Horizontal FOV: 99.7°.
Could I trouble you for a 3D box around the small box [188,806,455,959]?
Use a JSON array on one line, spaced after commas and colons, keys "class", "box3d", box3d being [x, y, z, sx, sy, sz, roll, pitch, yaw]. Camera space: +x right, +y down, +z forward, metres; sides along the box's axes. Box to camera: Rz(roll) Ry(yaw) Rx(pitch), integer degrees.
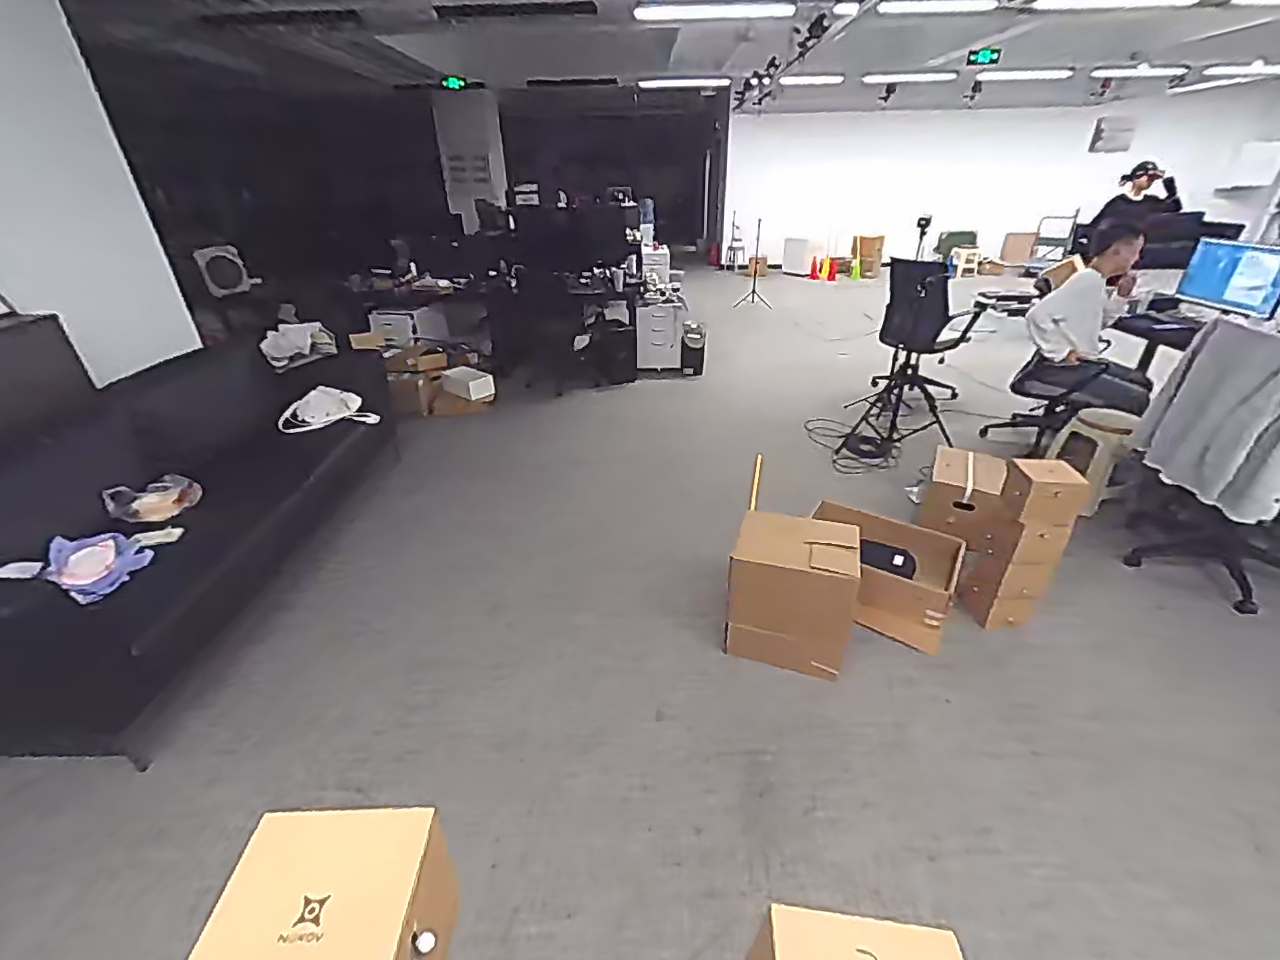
[{"class": "small box", "box3d": [-0.279, 0.434, 0.497, 0.168, 0.176, 0.179, 0, 33, -2]}]
